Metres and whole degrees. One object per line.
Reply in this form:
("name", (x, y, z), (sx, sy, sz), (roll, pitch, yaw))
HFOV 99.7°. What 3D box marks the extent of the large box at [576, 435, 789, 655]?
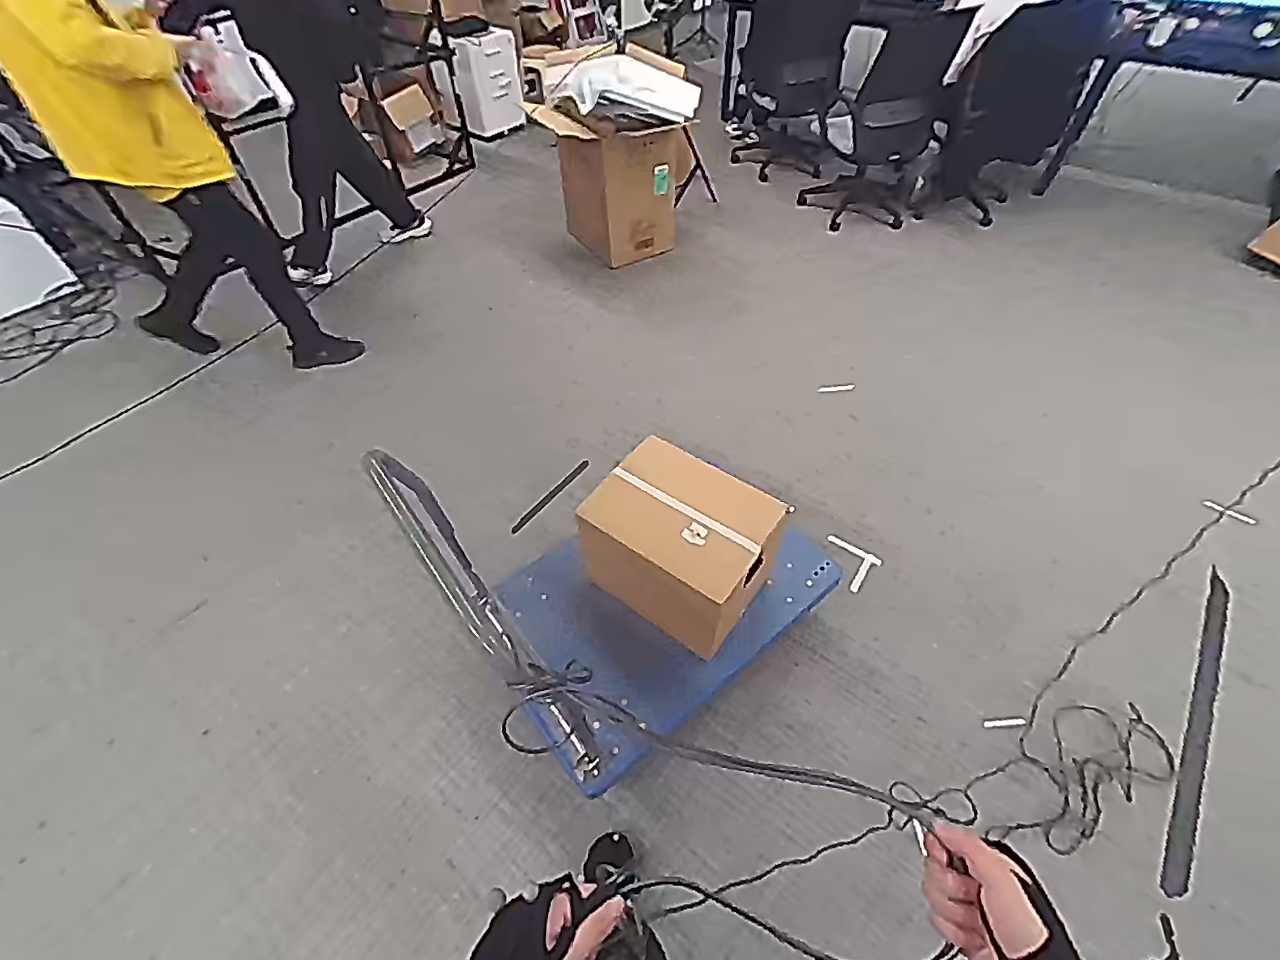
("large box", (0.098, 0.159, 1.360), (0.408, 0.320, 0.320), (30, 58, 22))
